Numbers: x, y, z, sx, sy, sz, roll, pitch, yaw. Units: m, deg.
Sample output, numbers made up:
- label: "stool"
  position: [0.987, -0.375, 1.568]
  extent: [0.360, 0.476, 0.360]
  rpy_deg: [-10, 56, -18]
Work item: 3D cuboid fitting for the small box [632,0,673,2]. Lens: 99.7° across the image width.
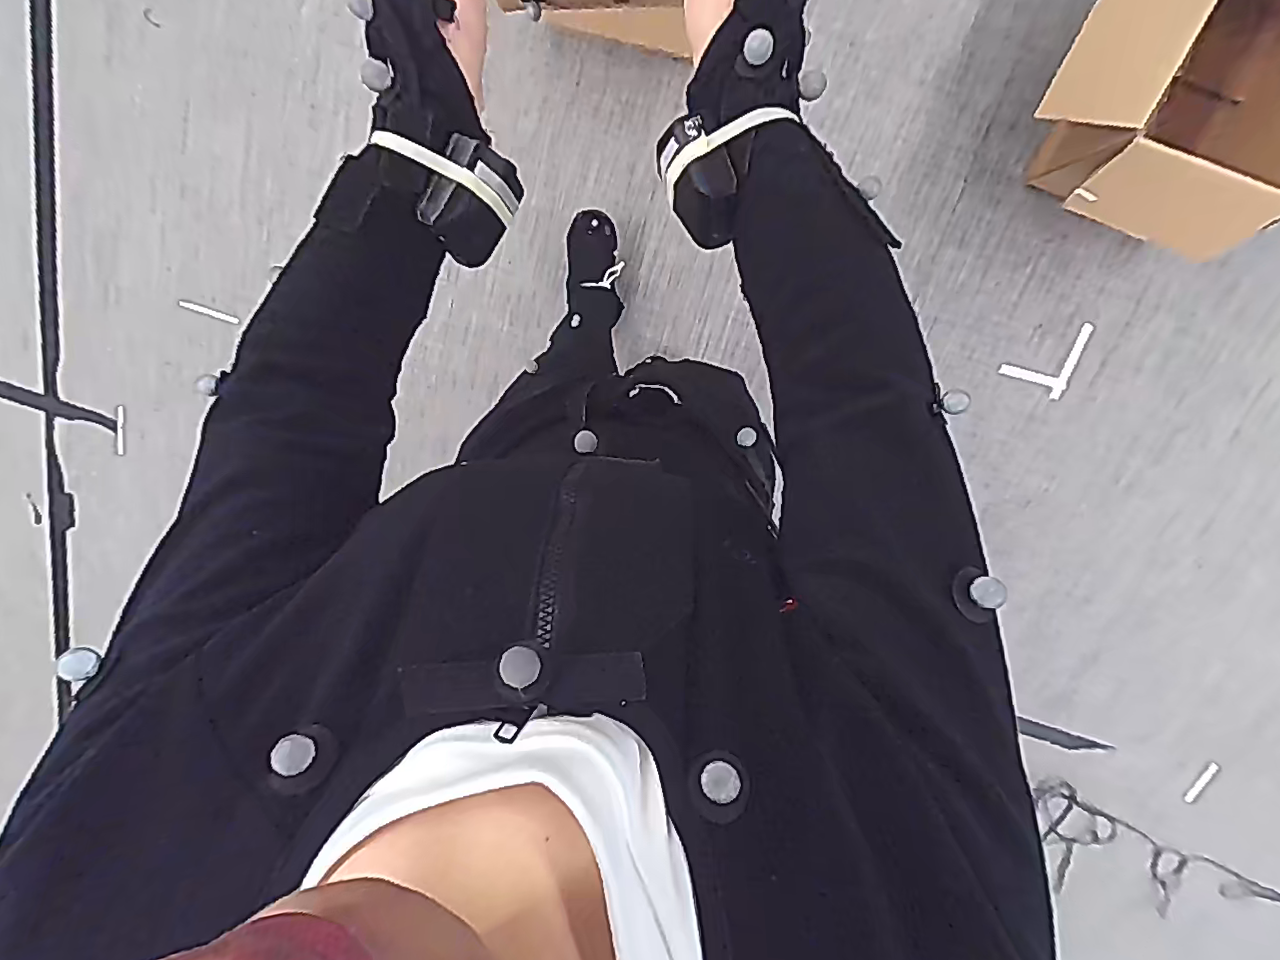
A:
- label: "small box"
  position: [-0.038, -0.451, 0.355]
  extent: [0.168, 0.176, 0.179]
  rpy_deg: [-2, 114, -1]
